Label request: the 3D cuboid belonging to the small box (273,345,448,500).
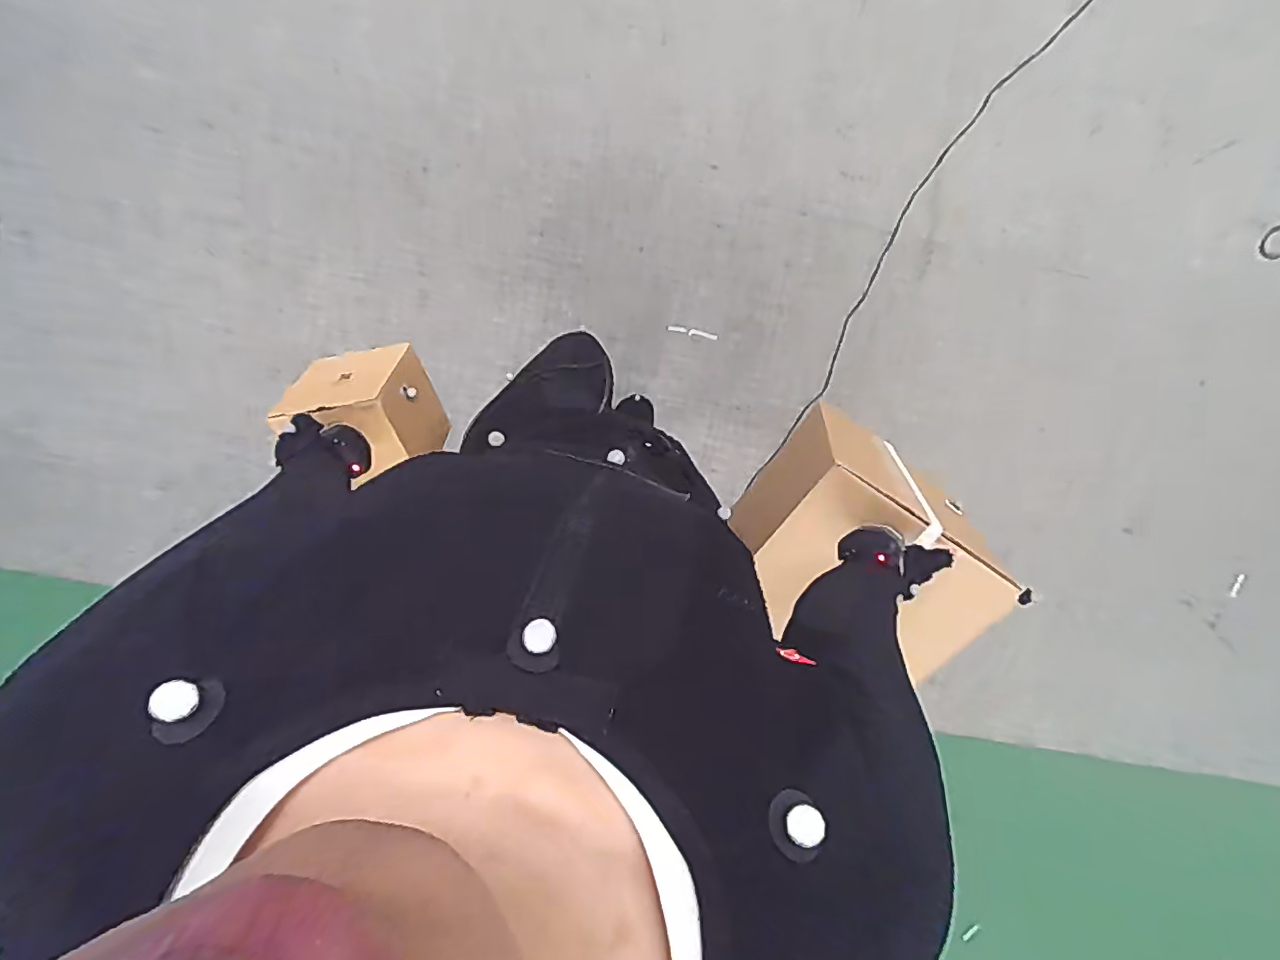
[{"bbox_3d":[-0.429,-0.092,0.869,0.168,0.179,0.176,-9,131,5],"label":"small box"}]
